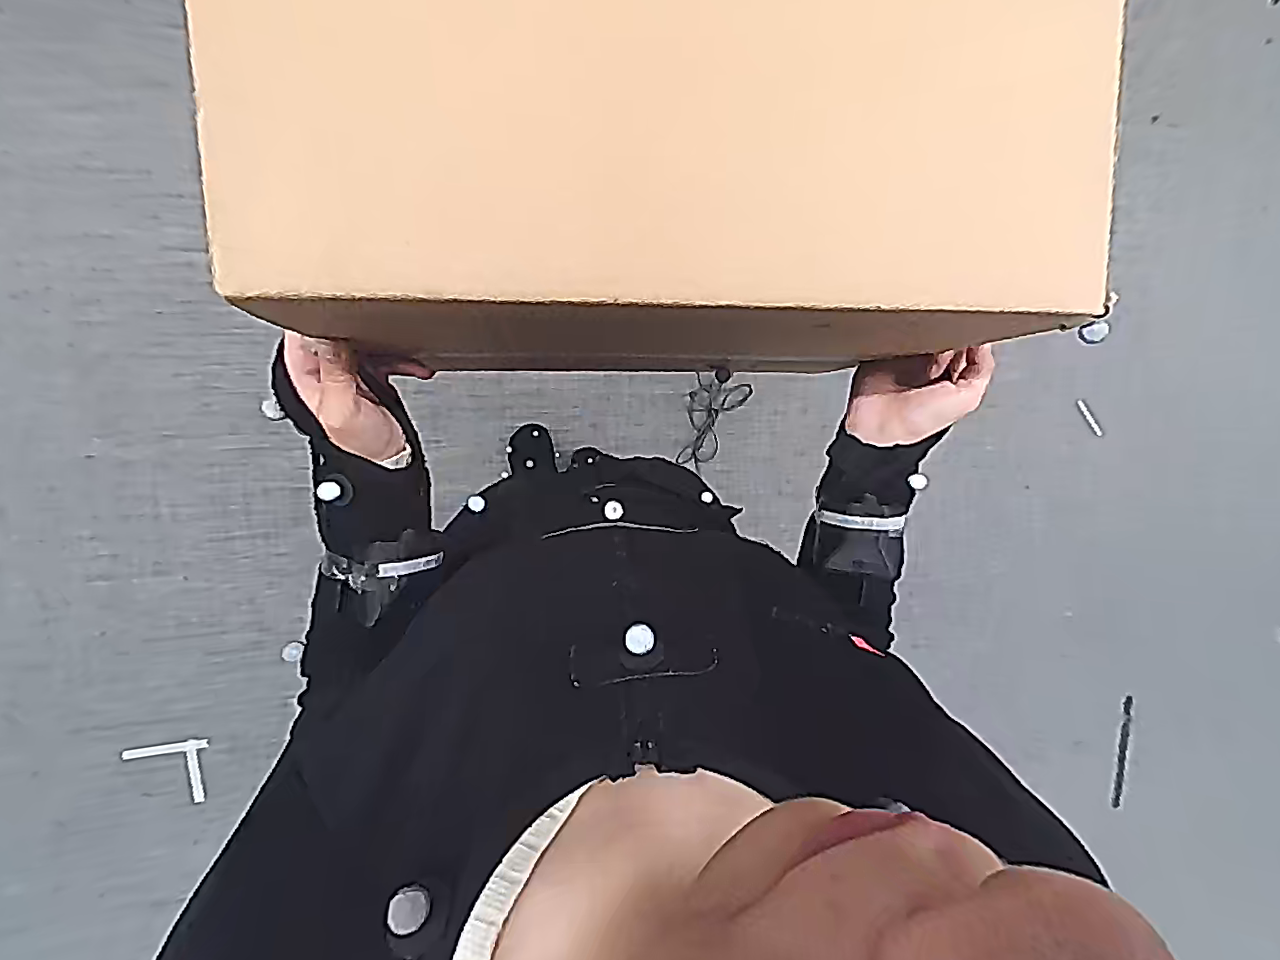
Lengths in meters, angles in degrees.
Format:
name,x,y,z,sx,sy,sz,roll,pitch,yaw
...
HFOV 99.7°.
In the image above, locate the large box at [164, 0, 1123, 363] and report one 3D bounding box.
name,x,y,z,sx,sy,sz,roll,pitch,yaw
large box,0.000,-0.253,0.360,0.408,0.320,0.320,-3,98,-9
